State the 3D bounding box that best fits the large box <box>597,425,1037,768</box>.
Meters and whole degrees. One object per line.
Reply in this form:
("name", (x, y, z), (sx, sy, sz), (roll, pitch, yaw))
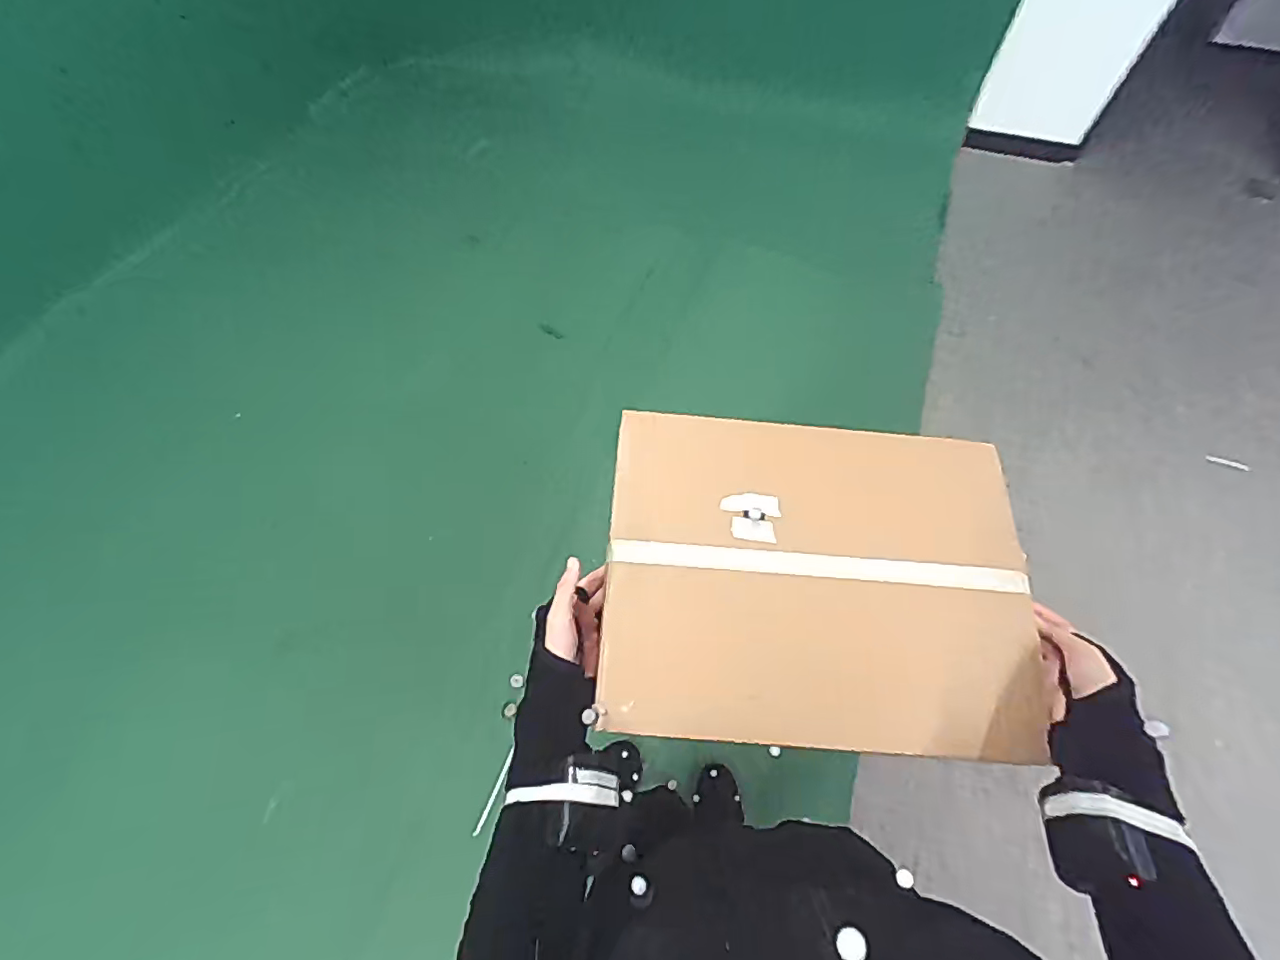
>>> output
("large box", (0.167, 0.151, 0.672), (0.408, 0.320, 0.320), (6, 68, 0))
